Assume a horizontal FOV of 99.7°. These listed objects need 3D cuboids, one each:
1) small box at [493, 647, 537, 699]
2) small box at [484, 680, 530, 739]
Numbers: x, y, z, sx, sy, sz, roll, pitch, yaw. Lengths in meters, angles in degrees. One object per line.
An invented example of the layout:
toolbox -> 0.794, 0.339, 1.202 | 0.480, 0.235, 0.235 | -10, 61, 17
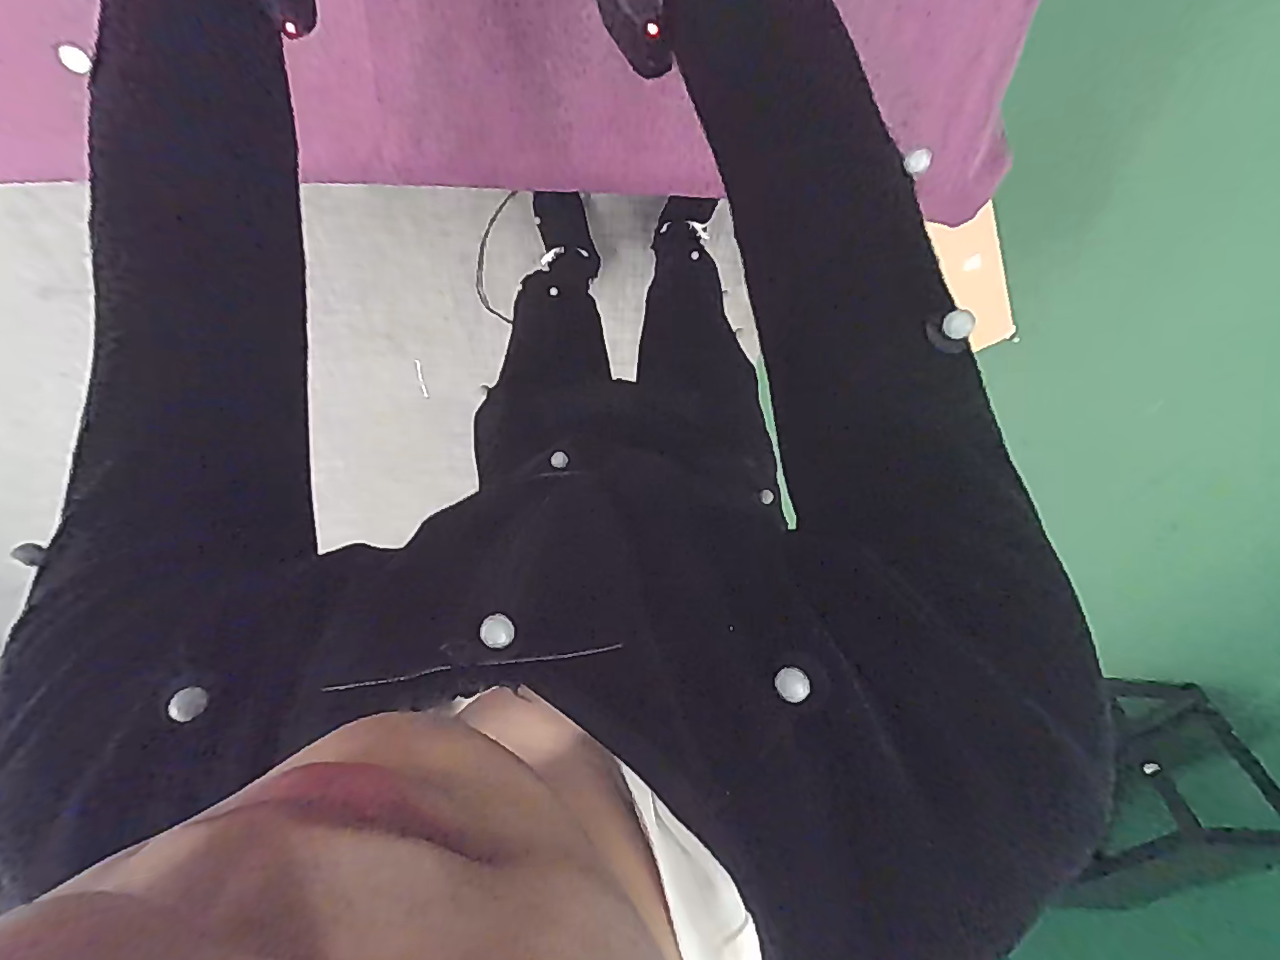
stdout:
small box -> -0.574, 0.904, 2.506 | 0.168, 0.176, 0.179 | 9, 130, -2
small box -> -0.585, 1.014, 2.386 | 0.168, 0.176, 0.179 | 11, 130, -5
